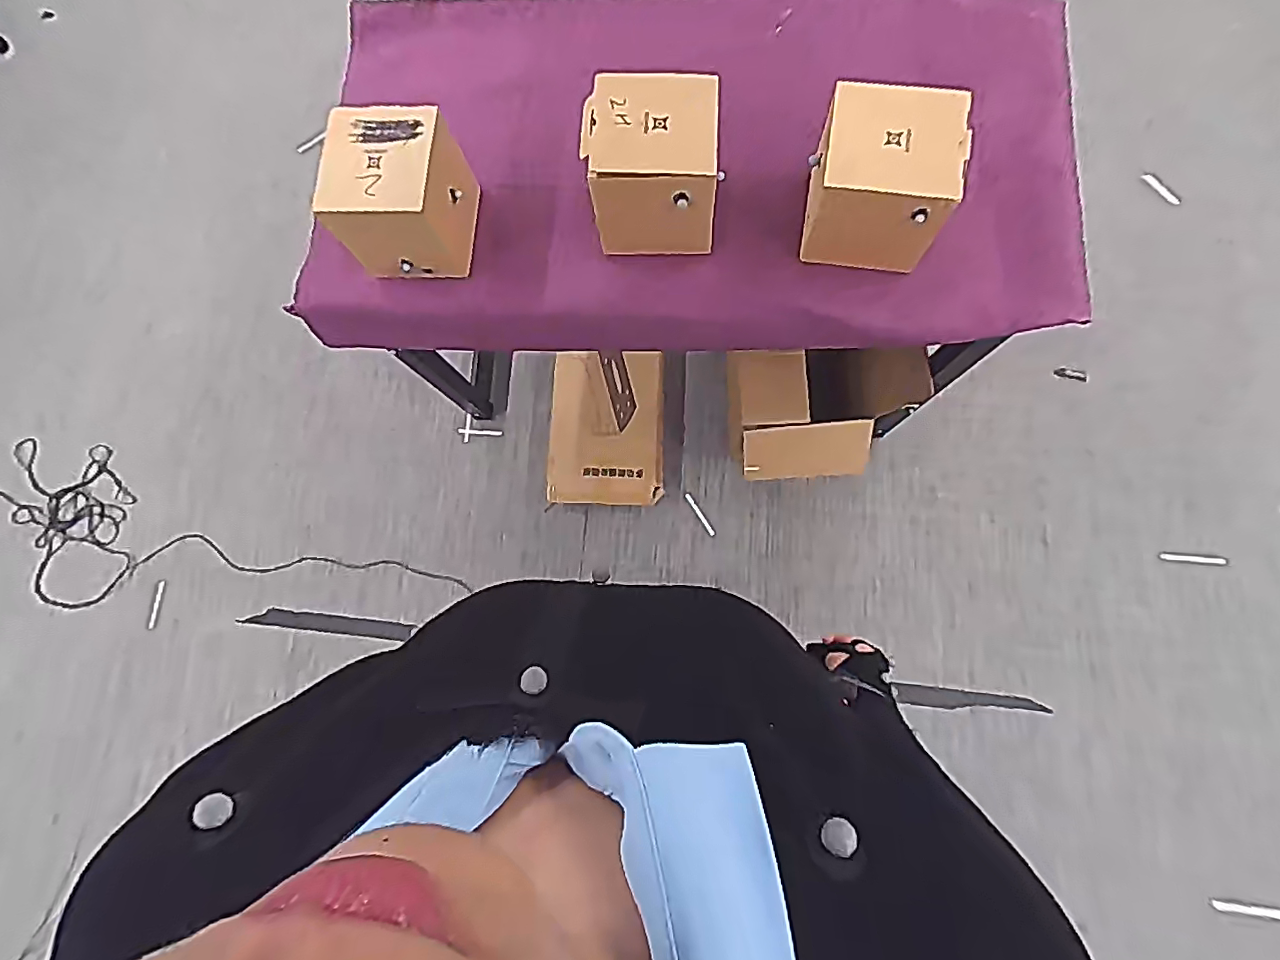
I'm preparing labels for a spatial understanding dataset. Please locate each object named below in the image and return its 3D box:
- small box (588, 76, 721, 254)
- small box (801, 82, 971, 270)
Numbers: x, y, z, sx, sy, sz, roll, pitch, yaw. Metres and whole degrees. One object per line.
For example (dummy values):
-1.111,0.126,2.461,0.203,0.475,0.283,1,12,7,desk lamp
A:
0.026,-0.461,0.812,0.179,0.176,0.168,2,77,5,small box
0.341,-0.427,0.780,0.179,0.176,0.168,9,80,6,small box
